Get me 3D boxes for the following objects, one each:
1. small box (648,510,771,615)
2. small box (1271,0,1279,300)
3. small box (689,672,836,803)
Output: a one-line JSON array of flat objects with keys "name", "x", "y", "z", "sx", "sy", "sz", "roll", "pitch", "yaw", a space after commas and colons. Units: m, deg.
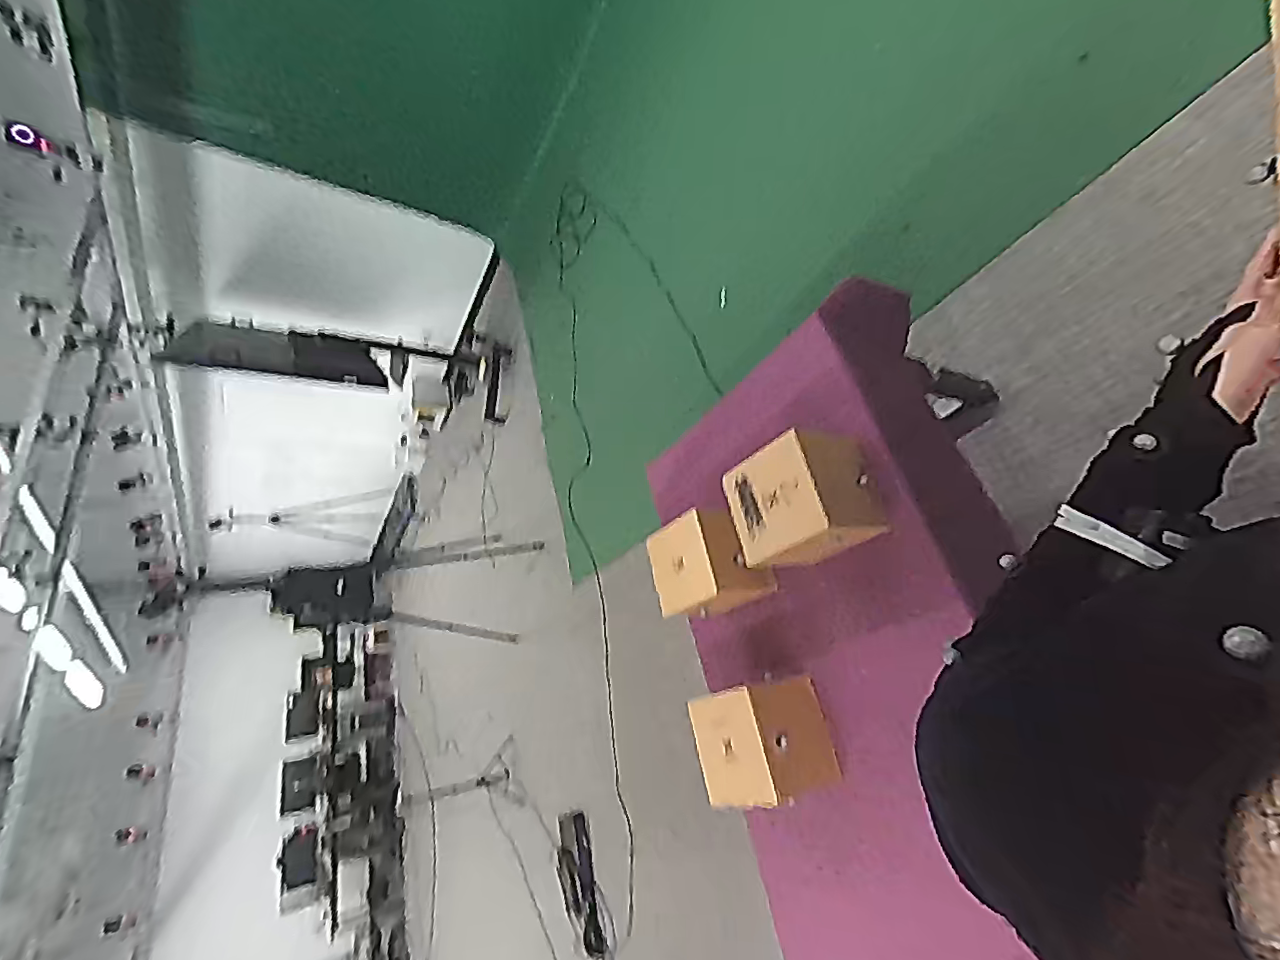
[{"name": "small box", "x": 0.145, "y": 0.167, "z": 1.102, "sx": 0.179, "sy": 0.176, "sz": 0.168, "roll": -40, "pitch": 55, "yaw": 47}, {"name": "small box", "x": 0.455, "y": -0.196, "z": 0.276, "sx": 0.168, "sy": 0.176, "sz": 0.179, "roll": -1, "pitch": 96, "yaw": 51}, {"name": "small box", "x": 0.218, "y": 0.457, "z": 0.965, "sx": 0.168, "sy": 0.176, "sz": 0.179, "roll": -39, "pitch": 55, "yaw": 46}]
